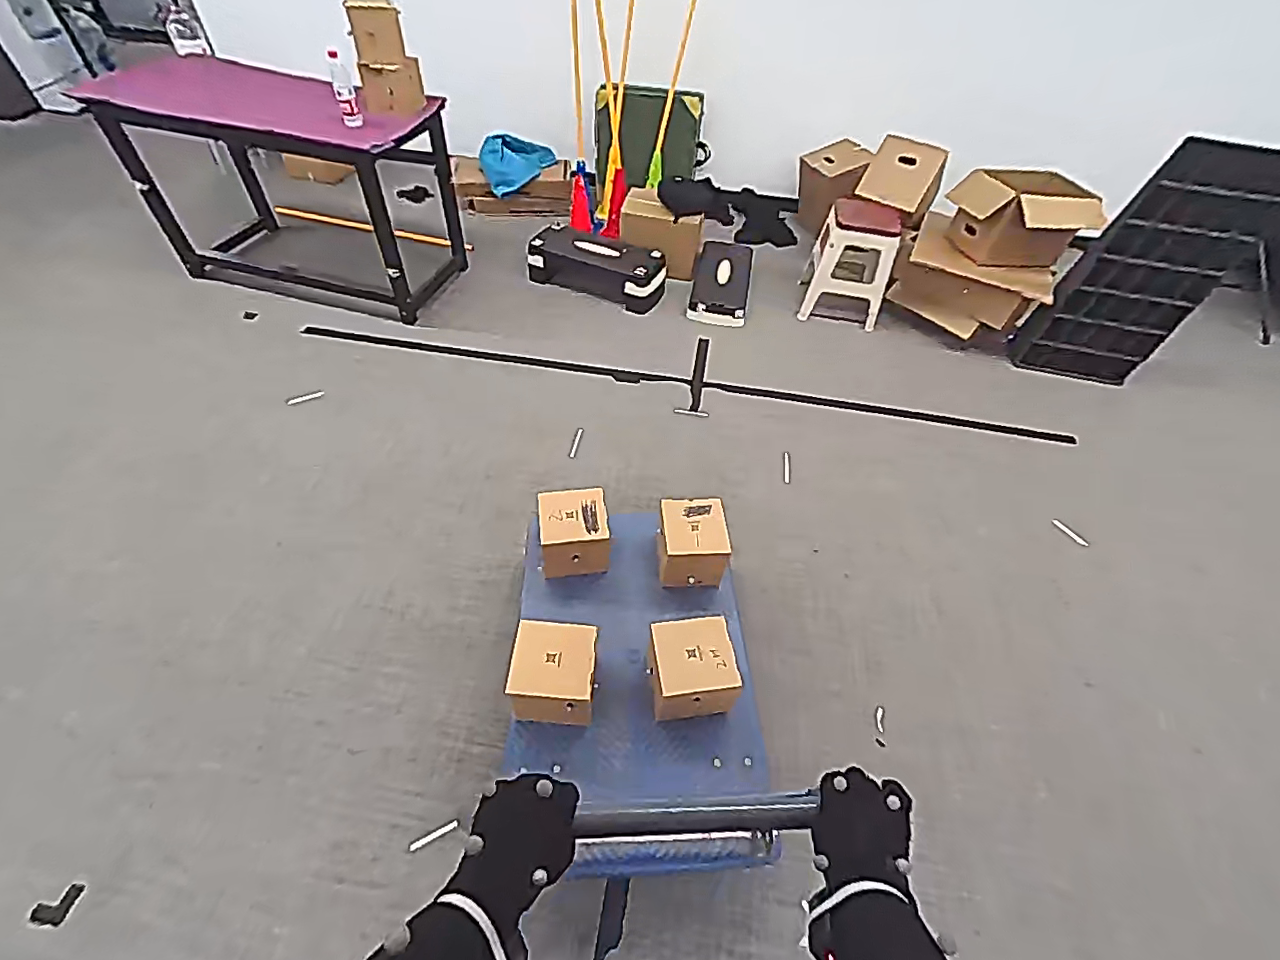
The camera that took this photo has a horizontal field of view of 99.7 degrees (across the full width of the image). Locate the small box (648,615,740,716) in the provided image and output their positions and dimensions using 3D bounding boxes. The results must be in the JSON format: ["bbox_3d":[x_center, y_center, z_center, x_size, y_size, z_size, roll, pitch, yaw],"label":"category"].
[{"bbox_3d":[0.115,0.432,1.251,0.179,0.176,0.168,-3,51,-8],"label":"small box"}]

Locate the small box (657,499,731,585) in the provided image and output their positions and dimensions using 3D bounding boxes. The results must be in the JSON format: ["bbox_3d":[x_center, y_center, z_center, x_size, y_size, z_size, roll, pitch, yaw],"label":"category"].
[{"bbox_3d":[0.140,0.170,1.474,0.168,0.176,0.179,-1,51,-6],"label":"small box"}]

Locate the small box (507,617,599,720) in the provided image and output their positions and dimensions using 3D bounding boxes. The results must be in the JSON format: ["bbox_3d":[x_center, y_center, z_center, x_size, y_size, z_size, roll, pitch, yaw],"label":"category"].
[{"bbox_3d":[-0.190,0.430,1.224,0.179,0.176,0.168,6,49,-2],"label":"small box"}]
